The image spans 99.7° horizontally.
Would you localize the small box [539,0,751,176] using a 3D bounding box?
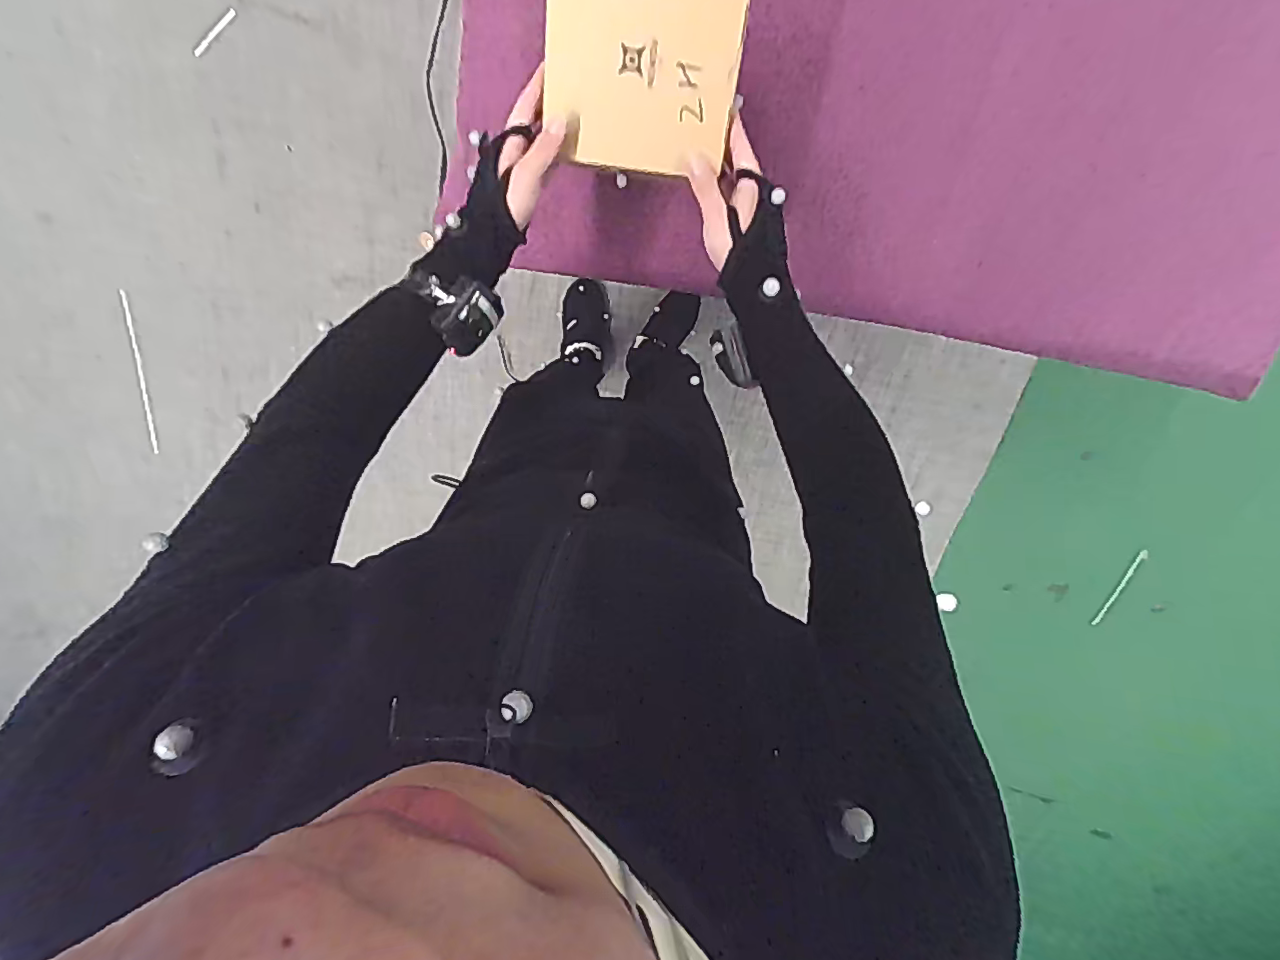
[{"bbox_3d":[0.007,-0.412,0.543,0.179,0.176,0.168,8,118,-1],"label":"small box"}]
